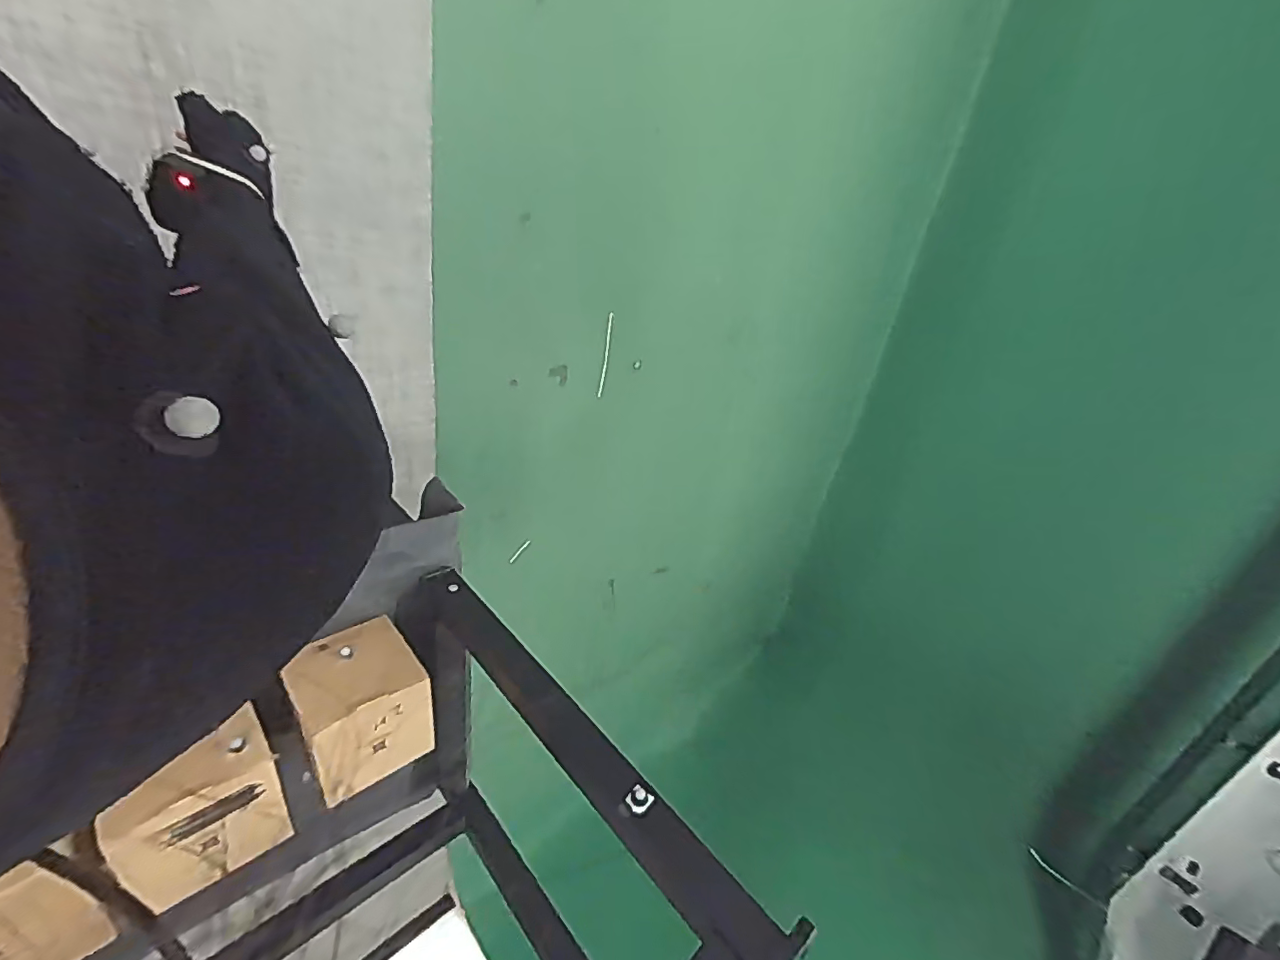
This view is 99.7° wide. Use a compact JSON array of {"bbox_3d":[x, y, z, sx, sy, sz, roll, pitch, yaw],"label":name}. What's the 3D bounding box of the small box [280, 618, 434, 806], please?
[{"bbox_3d":[-0.446,0.357,0.859,0.168,0.176,0.179,-19,129,-41],"label":"small box"}]
